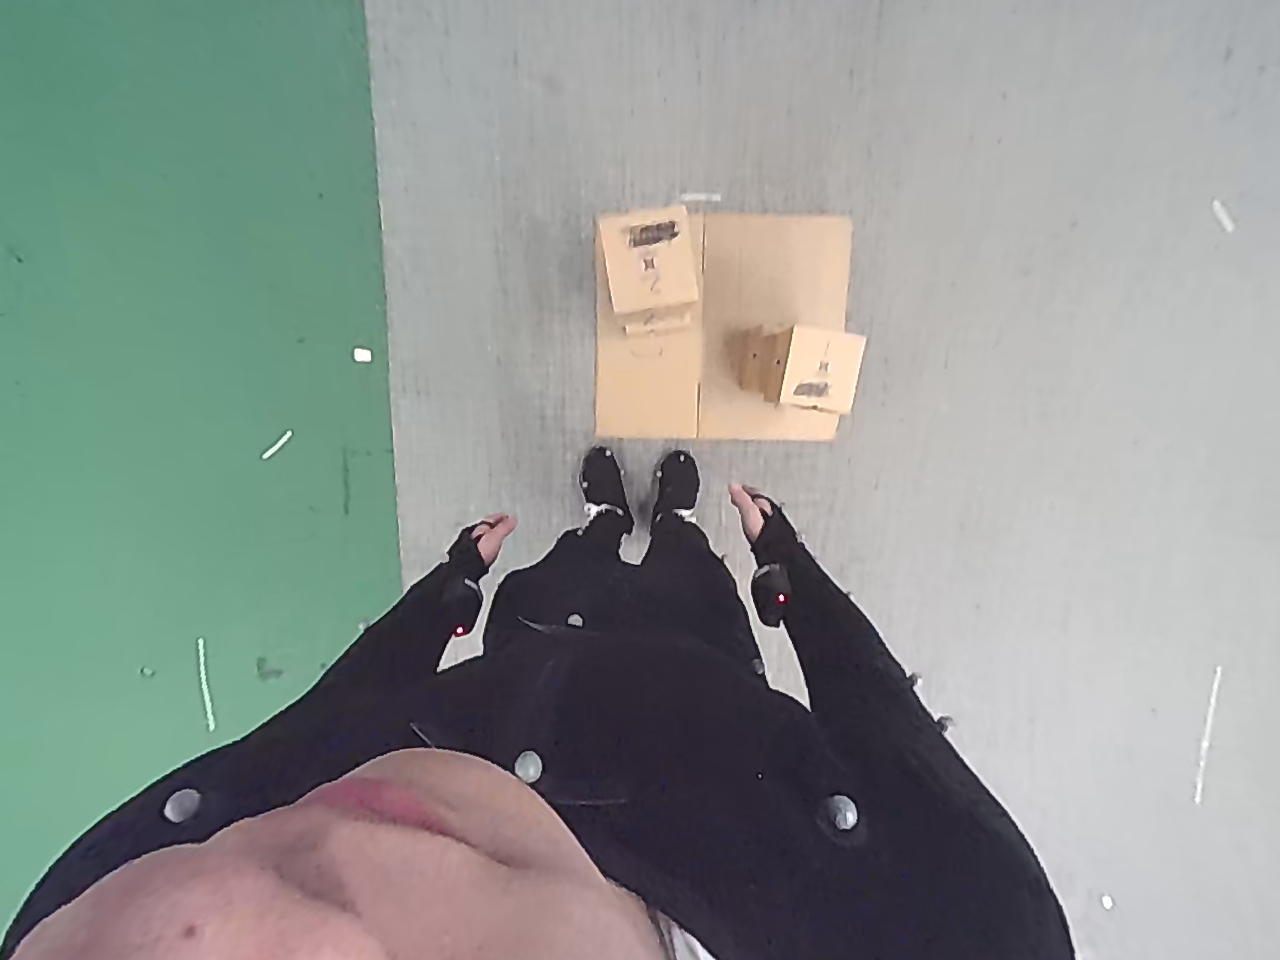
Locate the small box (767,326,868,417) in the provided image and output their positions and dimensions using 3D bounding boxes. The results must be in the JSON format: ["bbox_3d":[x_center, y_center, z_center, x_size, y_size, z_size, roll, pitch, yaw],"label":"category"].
[{"bbox_3d":[0.408,-0.250,1.273,0.168,0.176,0.179,10,98,-1],"label":"small box"}]

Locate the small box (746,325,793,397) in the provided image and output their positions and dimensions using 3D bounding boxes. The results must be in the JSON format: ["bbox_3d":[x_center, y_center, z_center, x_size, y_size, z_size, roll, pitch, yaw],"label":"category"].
[{"bbox_3d":[0.381,-0.304,1.432,0.168,0.176,0.179,6,98,0],"label":"small box"}]

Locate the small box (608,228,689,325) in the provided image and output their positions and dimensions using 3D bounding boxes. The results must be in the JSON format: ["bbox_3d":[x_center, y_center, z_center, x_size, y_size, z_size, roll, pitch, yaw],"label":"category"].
[{"bbox_3d":[0.021,-0.458,1.246,0.168,0.176,0.179,-6,98,1],"label":"small box"}]

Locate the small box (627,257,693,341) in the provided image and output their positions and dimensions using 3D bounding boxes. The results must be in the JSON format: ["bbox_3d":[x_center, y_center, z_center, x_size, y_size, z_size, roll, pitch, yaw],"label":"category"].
[{"bbox_3d":[0.042,-0.469,1.411,0.168,0.176,0.179,-7,99,2],"label":"small box"}]
